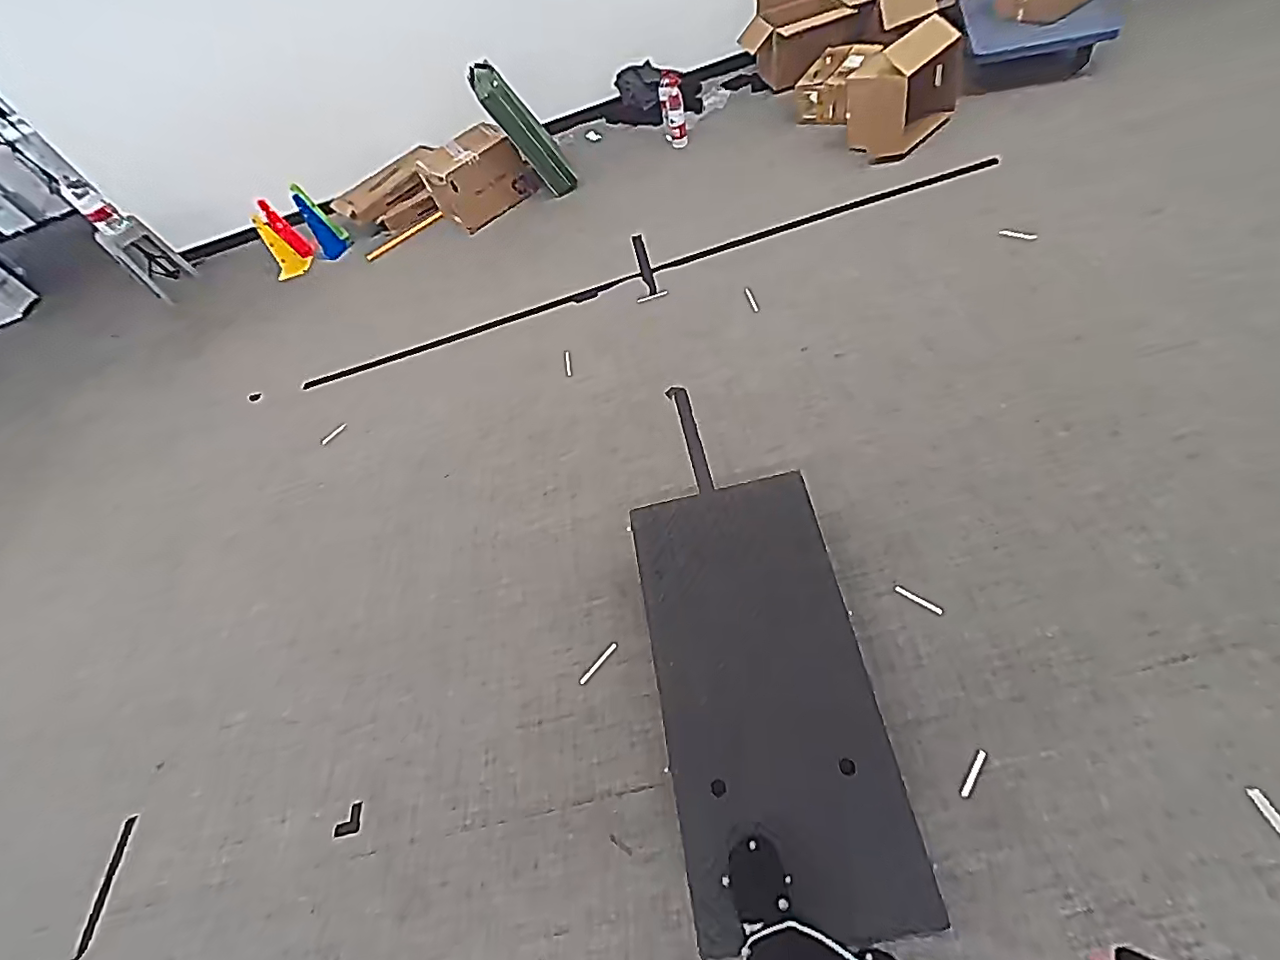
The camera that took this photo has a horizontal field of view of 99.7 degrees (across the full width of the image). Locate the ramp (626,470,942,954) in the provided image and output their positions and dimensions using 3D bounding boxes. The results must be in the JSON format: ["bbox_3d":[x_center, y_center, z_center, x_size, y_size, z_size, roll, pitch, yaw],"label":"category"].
[{"bbox_3d":[0.277,0.468,1.291,0.509,0.206,0.991,-15,53,5],"label":"ramp"}]
